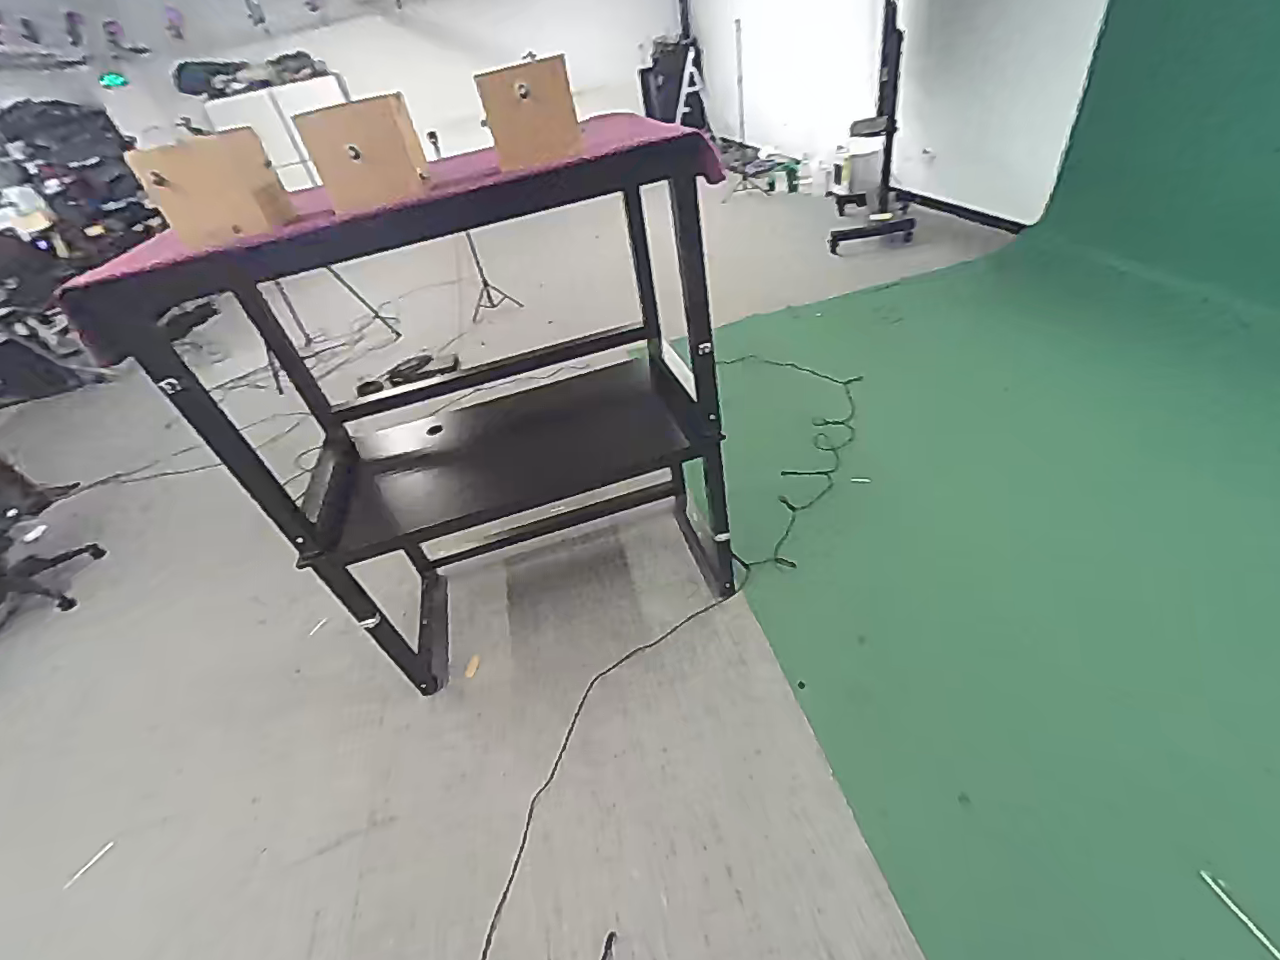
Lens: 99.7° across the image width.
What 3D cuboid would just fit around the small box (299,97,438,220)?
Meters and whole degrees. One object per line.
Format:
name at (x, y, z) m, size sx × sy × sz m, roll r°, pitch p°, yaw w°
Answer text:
small box at (-0.526, -0.641, 1.079) m, size 0.179 × 0.176 × 0.168 m, roll -15°, pitch 38°, yaw 0°

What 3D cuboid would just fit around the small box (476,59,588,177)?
small box at (-0.219, -0.743, 1.115) m, size 0.179 × 0.176 × 0.168 m, roll -15°, pitch 38°, yaw -2°
